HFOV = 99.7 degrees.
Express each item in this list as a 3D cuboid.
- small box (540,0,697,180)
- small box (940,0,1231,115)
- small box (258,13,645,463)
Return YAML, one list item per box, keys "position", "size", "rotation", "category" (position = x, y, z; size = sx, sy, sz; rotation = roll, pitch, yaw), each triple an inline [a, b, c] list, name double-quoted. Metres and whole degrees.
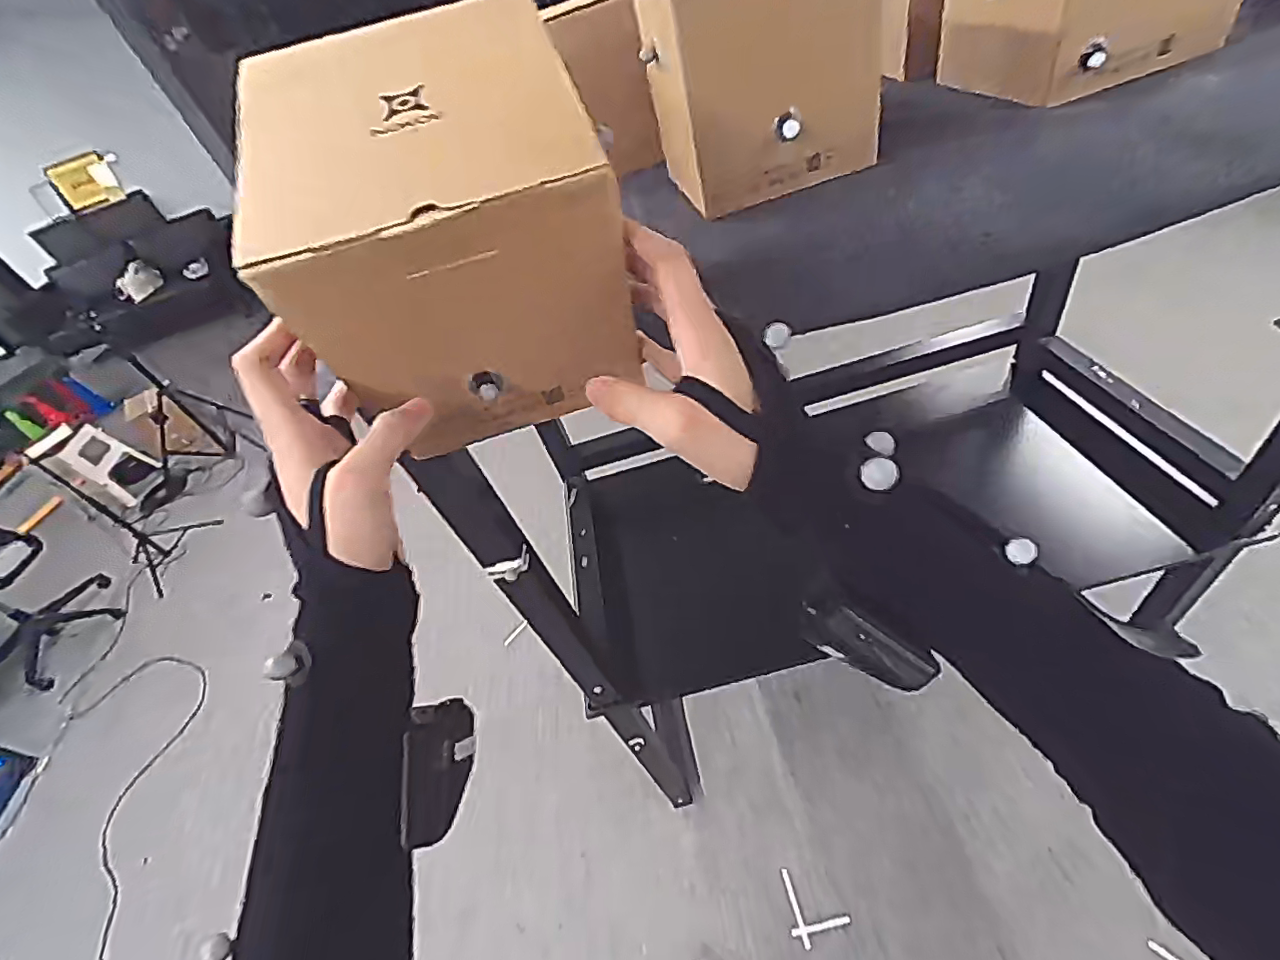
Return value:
- position: [-0.034, -0.488, 0.676]
  size: [0.179, 0.176, 0.168]
  rotation: [-18, 44, 1]
  category: "small box"
- position: [0.412, -0.466, 0.502]
  size: [0.168, 0.176, 0.179]
  rotation: [-18, 43, 2]
  category: "small box"
- position: [-0.101, -0.139, 0.342]
  size: [0.168, 0.176, 0.179]
  rotation: [-18, 64, -4]
  category: "small box"
